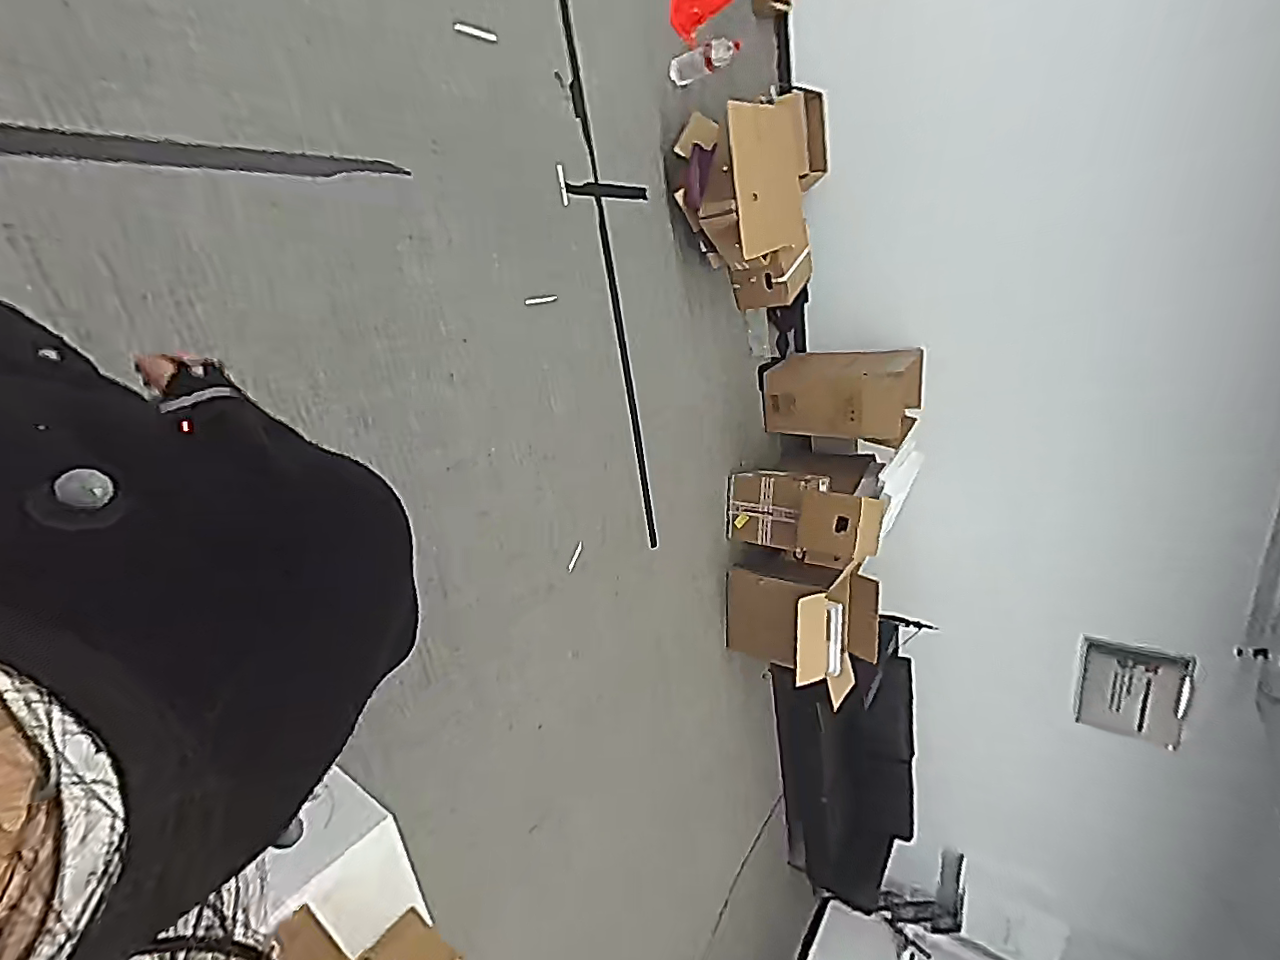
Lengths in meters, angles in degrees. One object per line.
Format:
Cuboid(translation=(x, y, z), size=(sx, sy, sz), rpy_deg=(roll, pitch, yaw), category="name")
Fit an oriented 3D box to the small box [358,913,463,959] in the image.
Cuboid(translation=(-0.426, 0.954, 0.994), size=(0.168, 0.176, 0.179), rpy_deg=(-28, 115, -46), category="small box")
